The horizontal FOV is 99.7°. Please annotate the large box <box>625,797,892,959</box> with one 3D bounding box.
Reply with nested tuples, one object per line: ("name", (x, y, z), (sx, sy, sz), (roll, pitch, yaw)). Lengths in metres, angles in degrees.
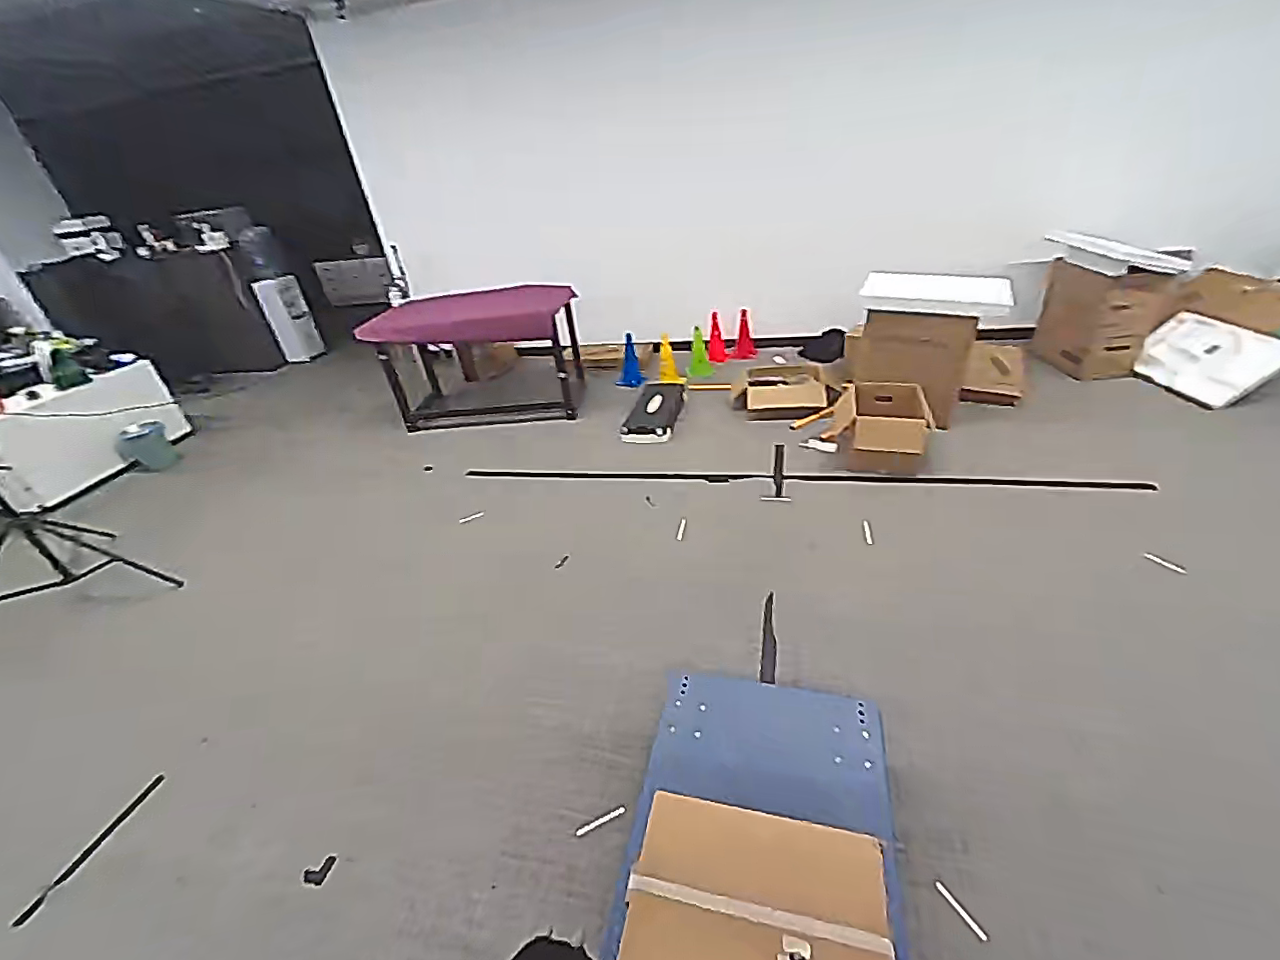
("large box", (0.204, 0.826, 0.953), (0.408, 0.320, 0.320), (3, 35, 15))
